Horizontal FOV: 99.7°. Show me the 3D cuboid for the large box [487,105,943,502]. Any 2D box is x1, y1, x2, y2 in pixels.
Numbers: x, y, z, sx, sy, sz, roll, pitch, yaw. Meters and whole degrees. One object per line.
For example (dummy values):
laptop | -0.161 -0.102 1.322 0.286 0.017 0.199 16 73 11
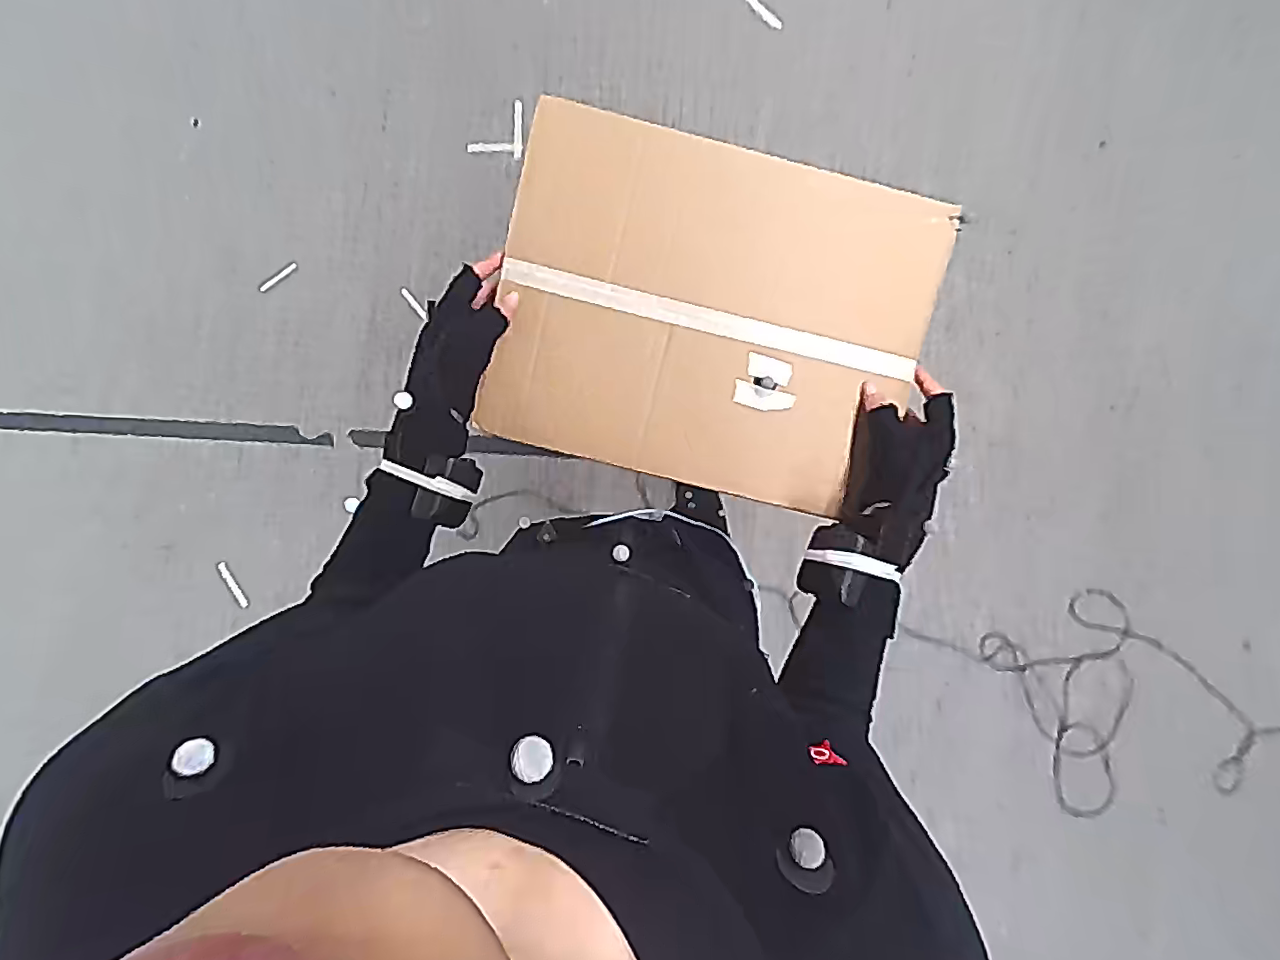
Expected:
large box | 0.066 -0.184 0.682 0.408 0.320 0.320 14 98 -3
